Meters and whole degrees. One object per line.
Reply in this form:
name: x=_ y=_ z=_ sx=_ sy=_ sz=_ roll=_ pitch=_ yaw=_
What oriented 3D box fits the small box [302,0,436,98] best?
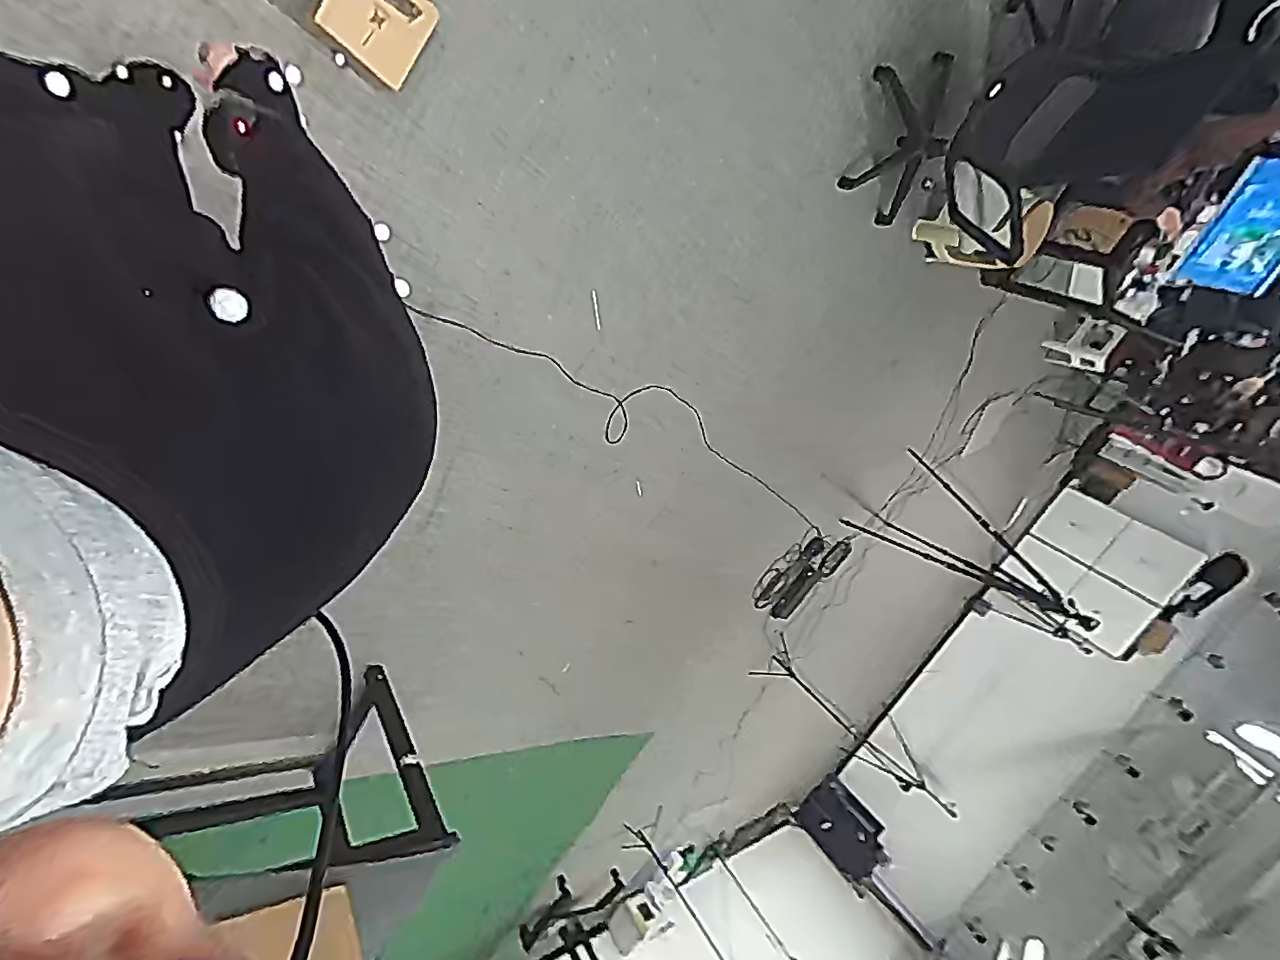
small box: x=-0.548 y=-0.914 z=1.084 sx=0.168 sy=0.176 sz=0.179 roll=26 pitch=102 yaw=-48
